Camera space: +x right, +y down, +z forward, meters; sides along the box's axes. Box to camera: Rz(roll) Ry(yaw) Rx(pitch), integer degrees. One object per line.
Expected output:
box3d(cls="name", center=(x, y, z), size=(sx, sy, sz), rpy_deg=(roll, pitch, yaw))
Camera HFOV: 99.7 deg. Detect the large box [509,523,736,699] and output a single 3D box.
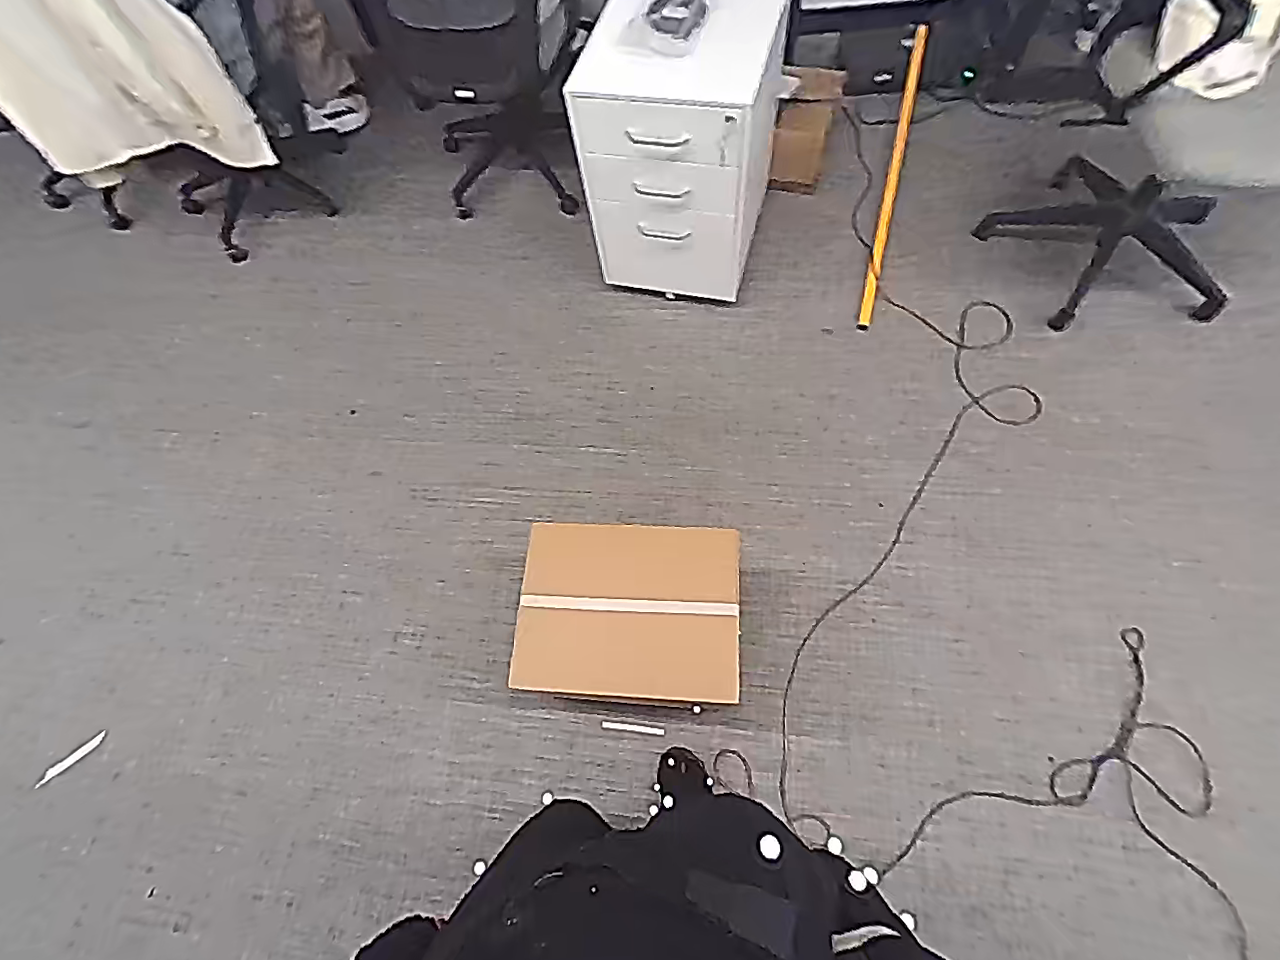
box3d(cls="large box", center=(-0.013, 0.286, 1.132), size=(0.408, 0.320, 0.320), rpy_deg=(1, 66, 7))
